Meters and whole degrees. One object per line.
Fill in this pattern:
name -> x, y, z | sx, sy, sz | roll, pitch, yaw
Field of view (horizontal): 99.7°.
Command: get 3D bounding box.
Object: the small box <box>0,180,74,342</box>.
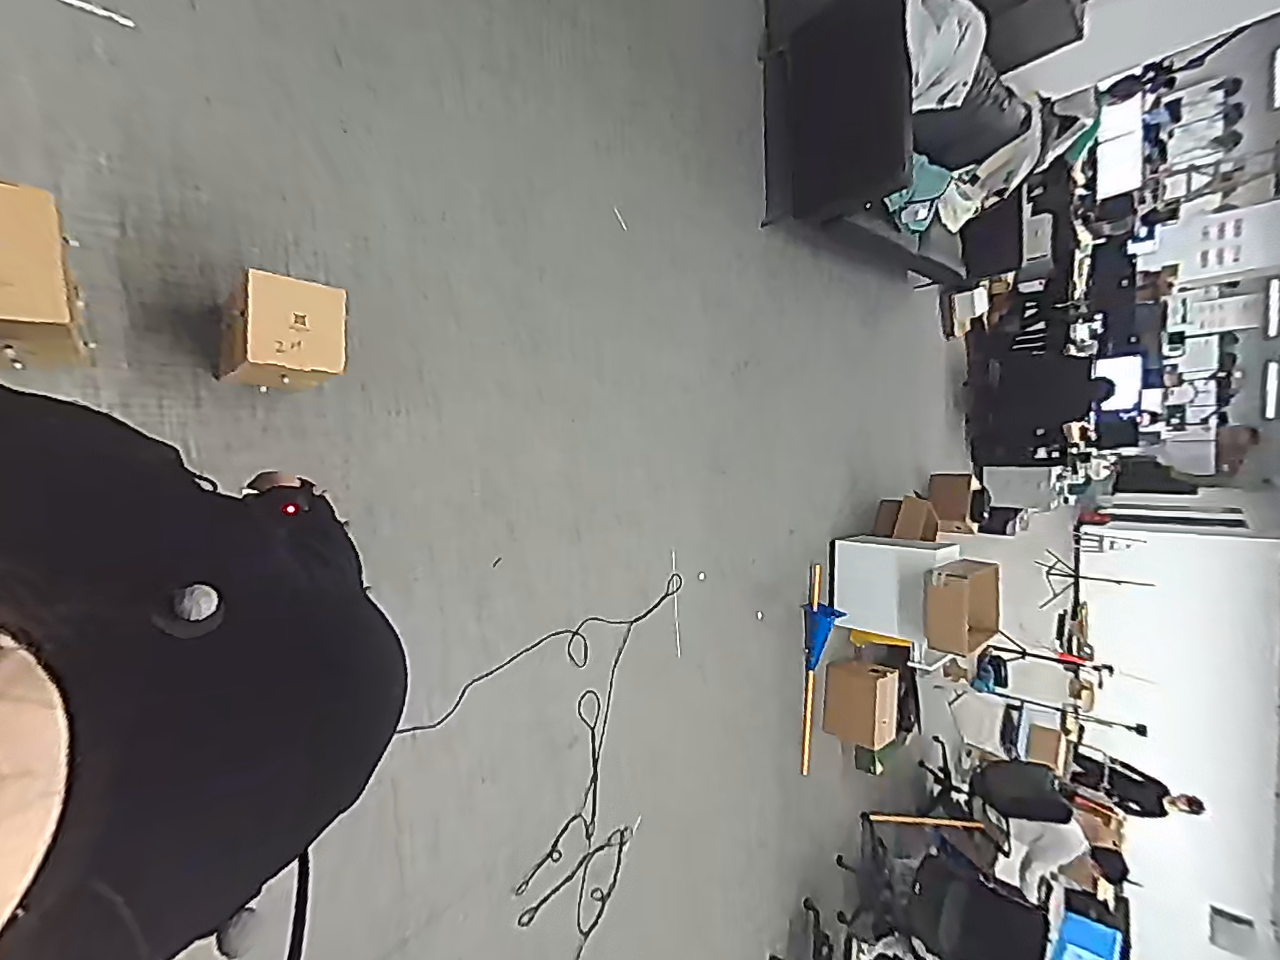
small box -> -0.886, -0.290, 0.719 | 0.168, 0.176, 0.179 | -8, 98, -43

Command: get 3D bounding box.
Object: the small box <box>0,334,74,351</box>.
small box -> -1.004, -0.298, 0.832 | 0.168, 0.176, 0.179 | -9, 98, -44

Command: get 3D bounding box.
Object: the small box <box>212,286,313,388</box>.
small box -> -0.849, -0.312, 1.219 | 0.168, 0.176, 0.179 | 3, 90, -45

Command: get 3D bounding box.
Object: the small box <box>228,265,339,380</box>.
small box -> -0.730, -0.311, 1.105 | 0.168, 0.176, 0.179 | 0, 92, -44
